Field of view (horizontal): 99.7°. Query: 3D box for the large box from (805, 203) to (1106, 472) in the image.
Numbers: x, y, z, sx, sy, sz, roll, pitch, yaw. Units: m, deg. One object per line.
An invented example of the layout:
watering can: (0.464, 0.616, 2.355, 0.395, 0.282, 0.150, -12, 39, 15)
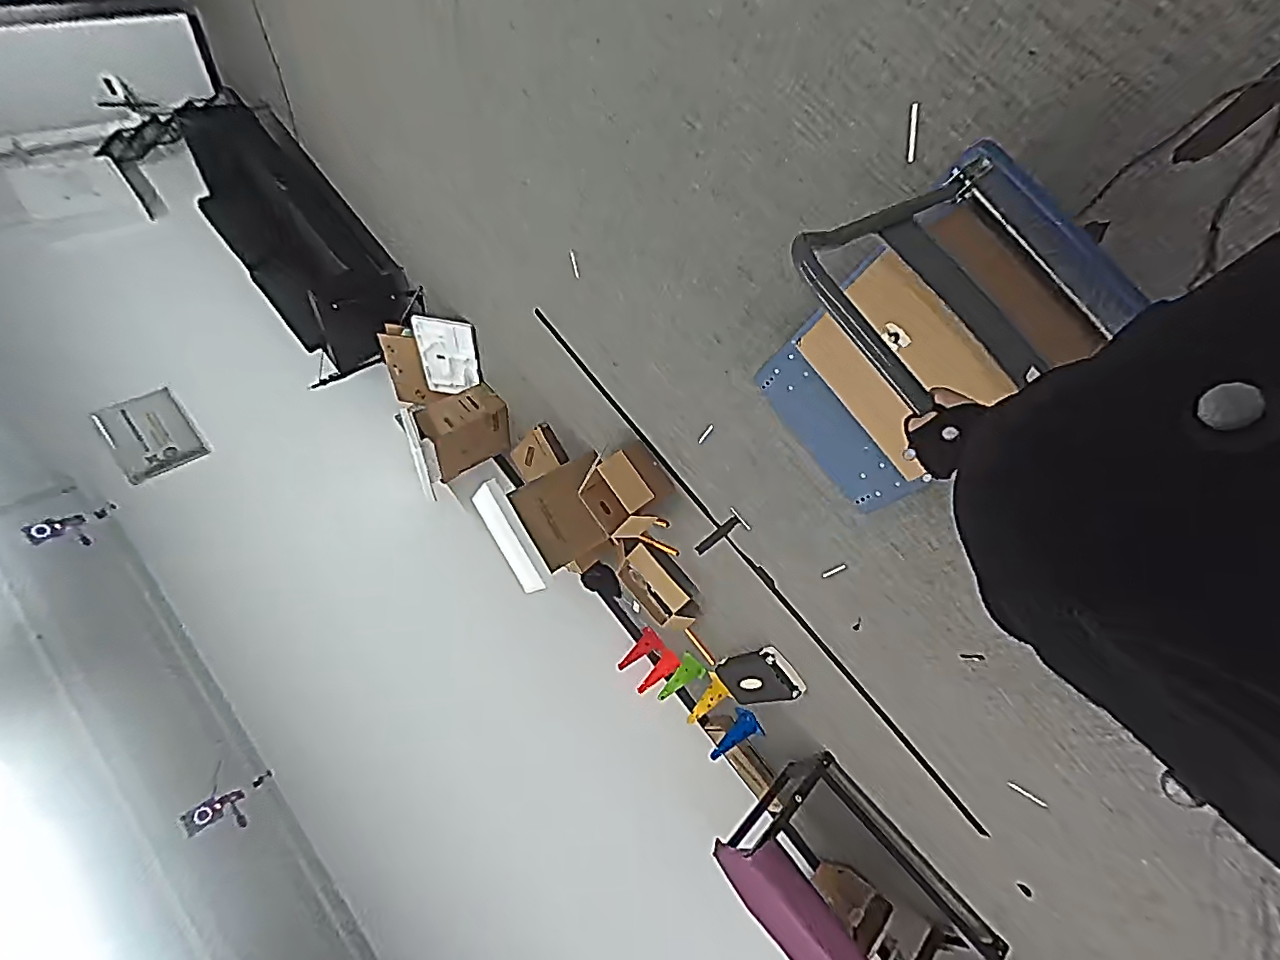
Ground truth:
large box: (0.652, -0.296, 1.153, 0.408, 0.320, 0.320, 54, 150, 8)
